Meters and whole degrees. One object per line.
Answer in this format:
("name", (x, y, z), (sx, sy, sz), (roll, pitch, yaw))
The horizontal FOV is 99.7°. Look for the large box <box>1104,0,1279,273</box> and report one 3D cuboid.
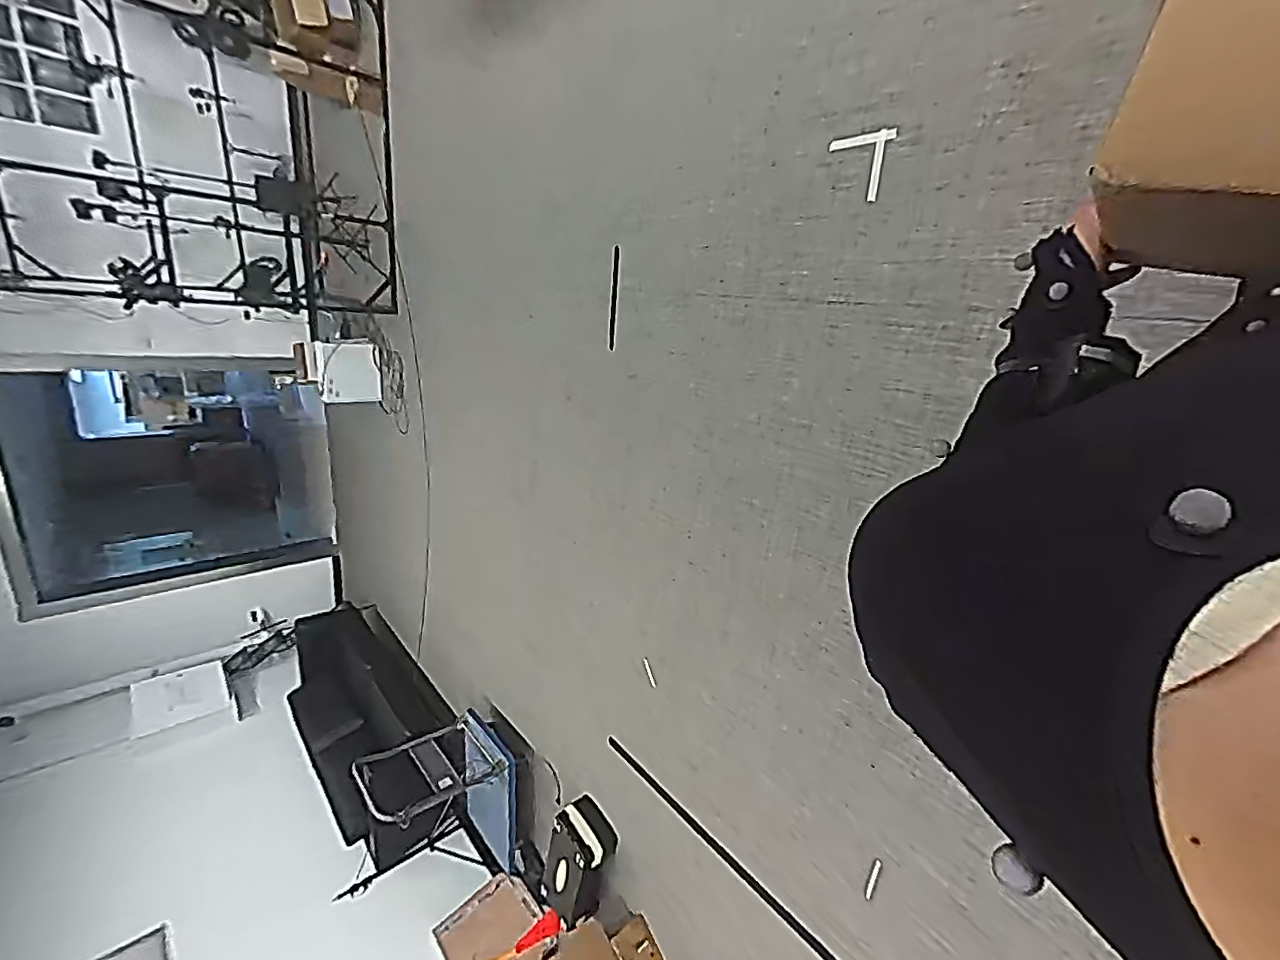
("large box", (0.494, -0.249, 0.214), (0.408, 0.320, 0.320), (26, 117, 34))
